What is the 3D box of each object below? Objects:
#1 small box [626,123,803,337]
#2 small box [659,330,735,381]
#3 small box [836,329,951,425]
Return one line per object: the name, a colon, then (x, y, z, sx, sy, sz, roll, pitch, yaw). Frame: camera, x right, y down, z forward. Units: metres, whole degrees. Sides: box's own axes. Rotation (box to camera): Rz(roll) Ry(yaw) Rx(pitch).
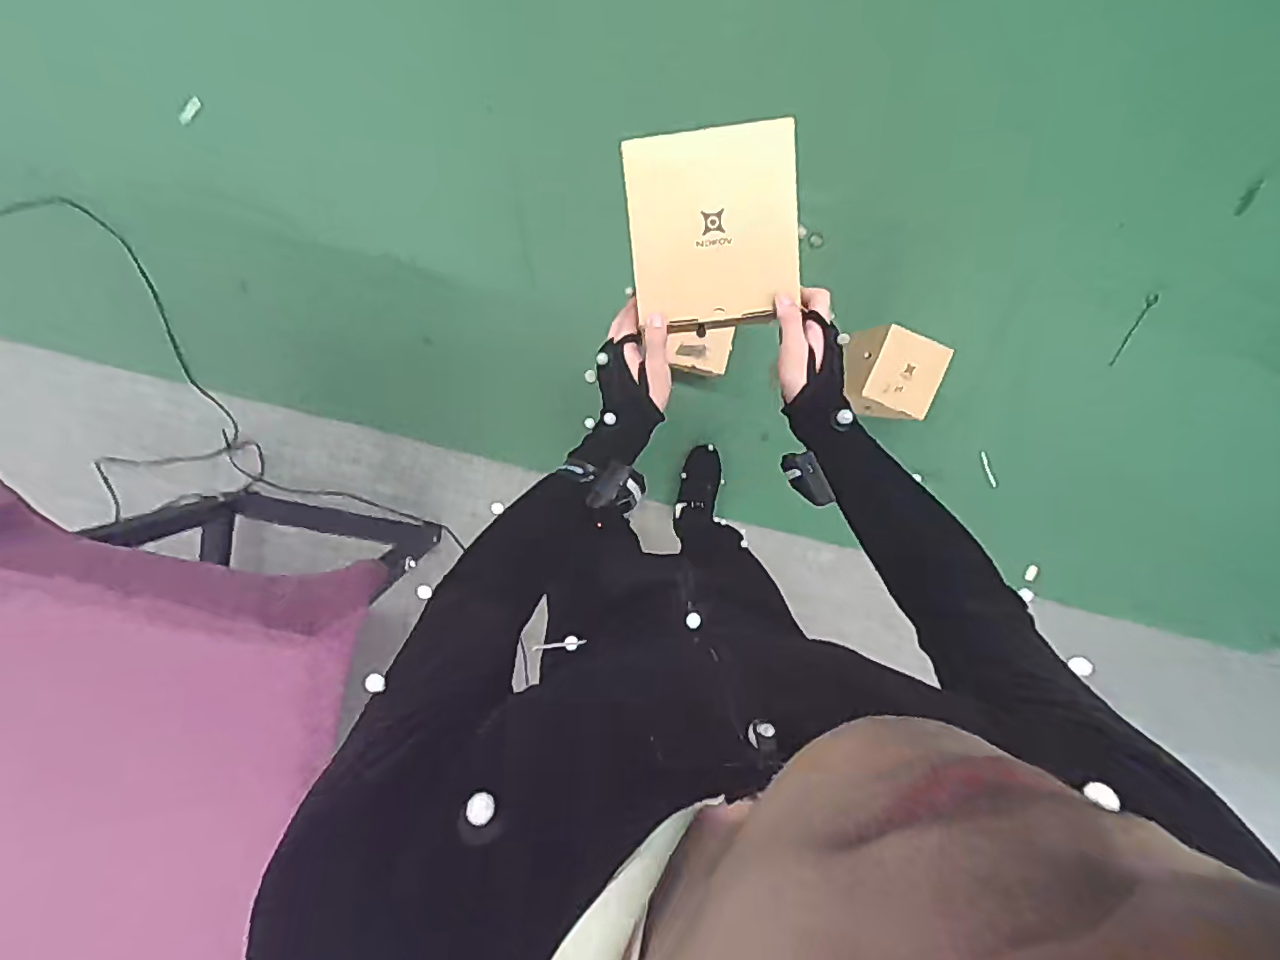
small box: (0.077, -0.259, 0.603, 0.168, 0.176, 0.179, -5, 103, 4)
small box: (0.149, -0.368, 1.450, 0.168, 0.176, 0.179, 12, 97, -5)
small box: (0.609, -0.249, 1.326, 0.168, 0.176, 0.179, 21, 97, -6)
